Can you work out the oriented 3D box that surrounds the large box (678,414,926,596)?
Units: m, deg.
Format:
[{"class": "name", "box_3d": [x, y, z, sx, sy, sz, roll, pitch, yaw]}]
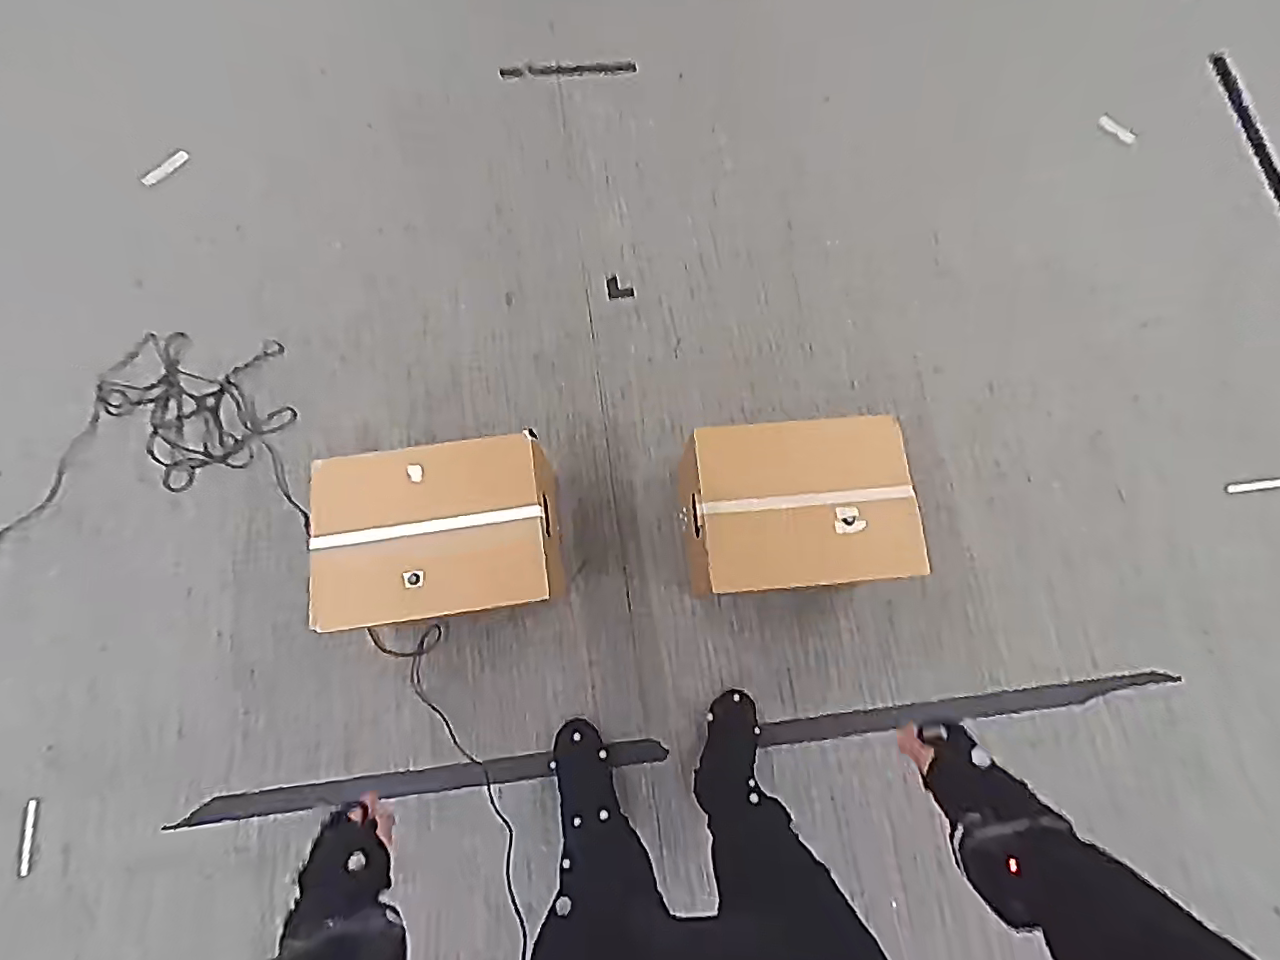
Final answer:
[{"class": "large box", "box_3d": [0.310, 0.070, 1.160, 0.408, 0.320, 0.320, -4, 77, -4]}]
